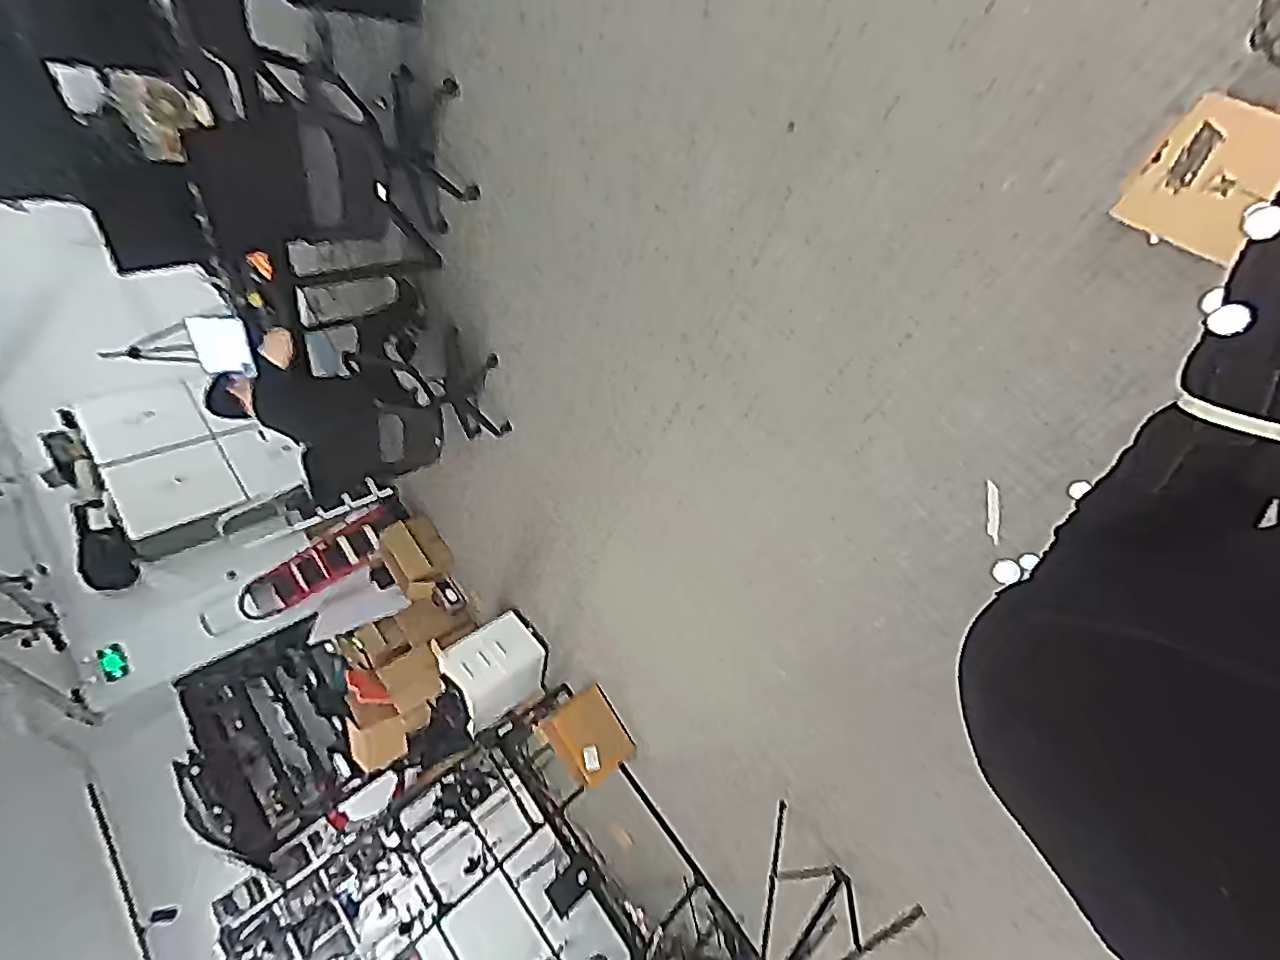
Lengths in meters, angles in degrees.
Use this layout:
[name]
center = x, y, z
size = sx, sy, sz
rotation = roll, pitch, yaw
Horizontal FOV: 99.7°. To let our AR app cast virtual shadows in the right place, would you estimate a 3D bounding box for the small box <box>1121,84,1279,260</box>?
[small box]
center = 0.868, -0.447, 0.786
size = 0.179, 0.176, 0.168
rotation = 44, 141, 23
